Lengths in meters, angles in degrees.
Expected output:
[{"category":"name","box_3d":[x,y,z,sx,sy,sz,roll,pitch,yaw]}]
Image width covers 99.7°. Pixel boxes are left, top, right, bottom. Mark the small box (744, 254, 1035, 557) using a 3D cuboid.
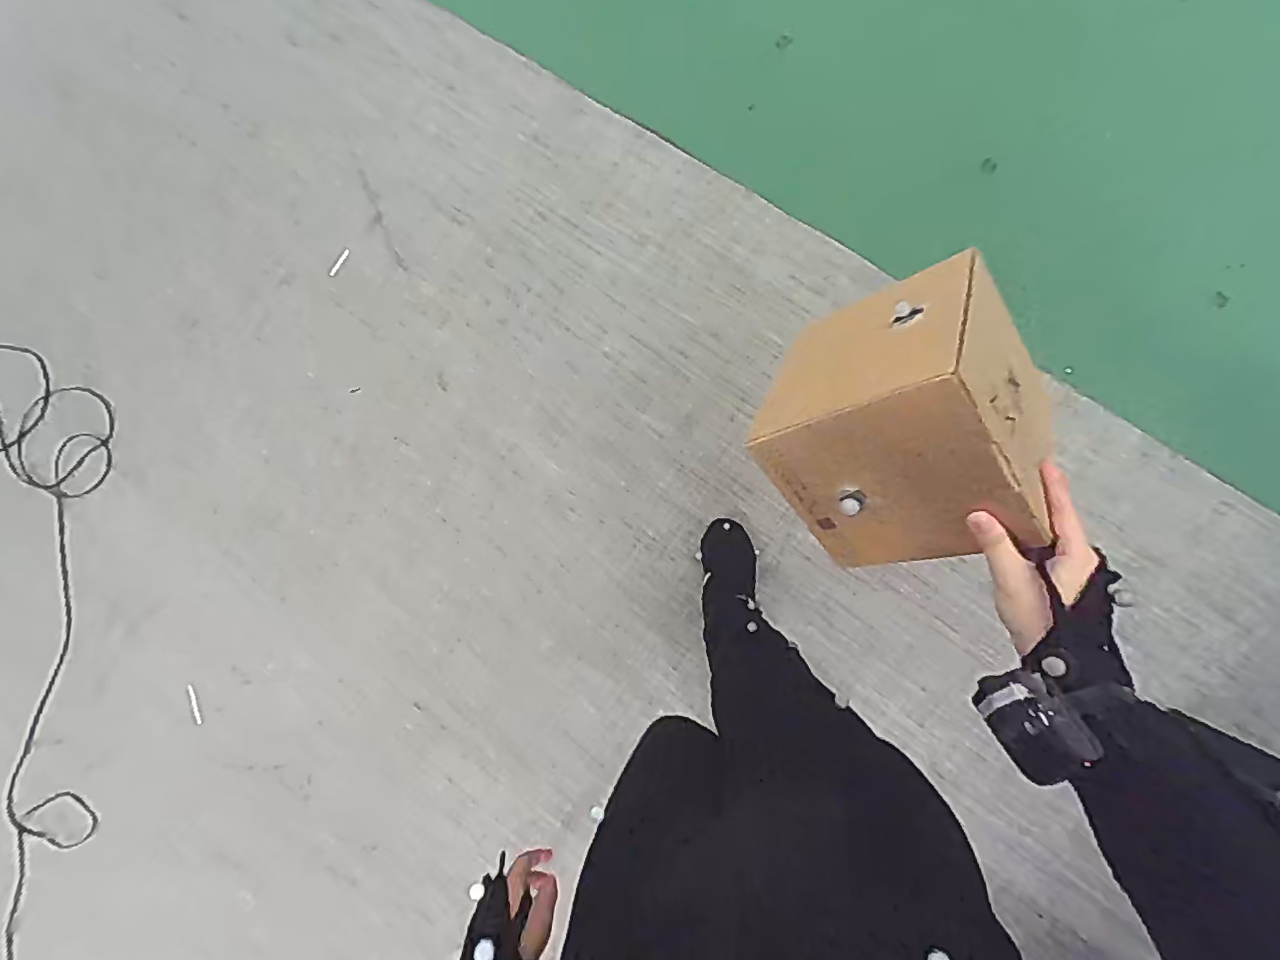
[{"category":"small box","box_3d":[0.218,-0.055,0.477,0.168,0.176,0.179,47,51,-20]}]
